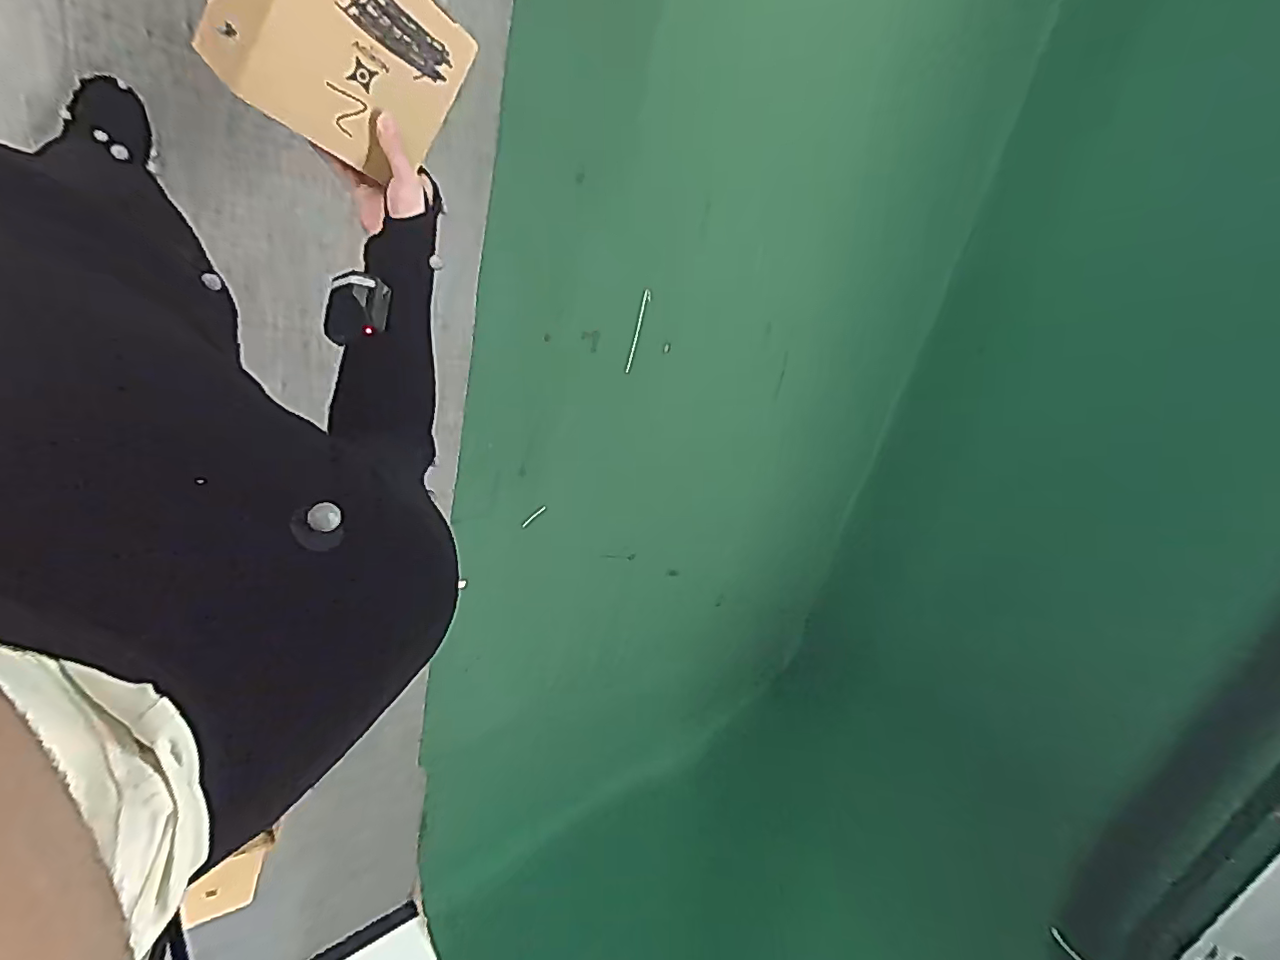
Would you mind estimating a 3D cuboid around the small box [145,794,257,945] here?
[{"bbox_3d":[-0.953,0.833,1.174,0.168,0.176,0.179,7,109,-44],"label":"small box"}]

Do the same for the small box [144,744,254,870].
[{"bbox_3d":[-1.050,0.762,1.286,0.179,0.176,0.168,9,108,-45],"label":"small box"}]
